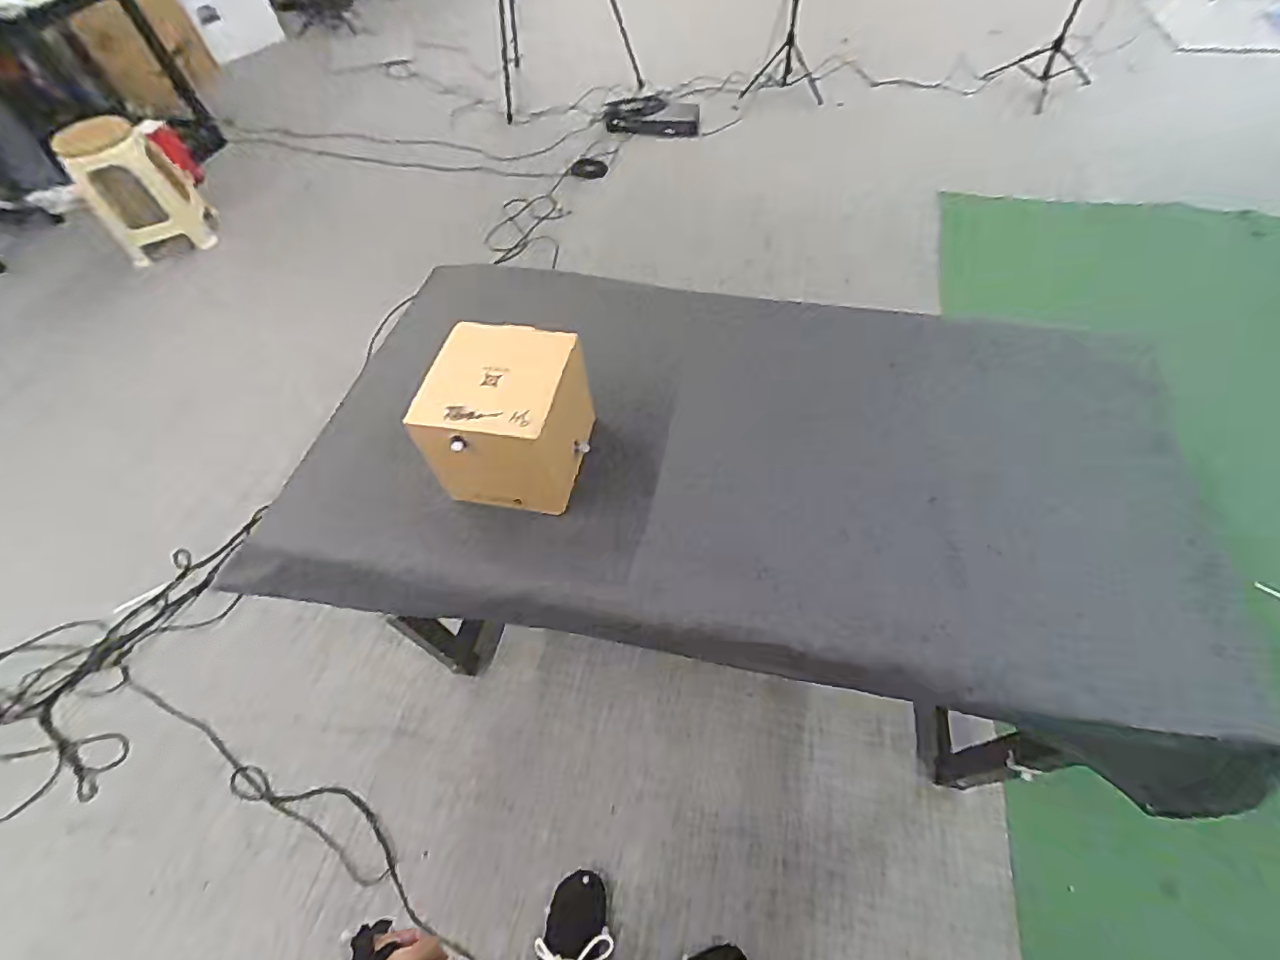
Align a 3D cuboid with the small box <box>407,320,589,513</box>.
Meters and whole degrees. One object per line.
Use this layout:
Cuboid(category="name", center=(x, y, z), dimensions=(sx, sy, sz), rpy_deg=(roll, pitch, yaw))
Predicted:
Cuboid(category="small box", center=(-0.169, -0.082, 0.715), dimensions=(0.168, 0.176, 0.179), rpy_deg=(8, 56, 8))
